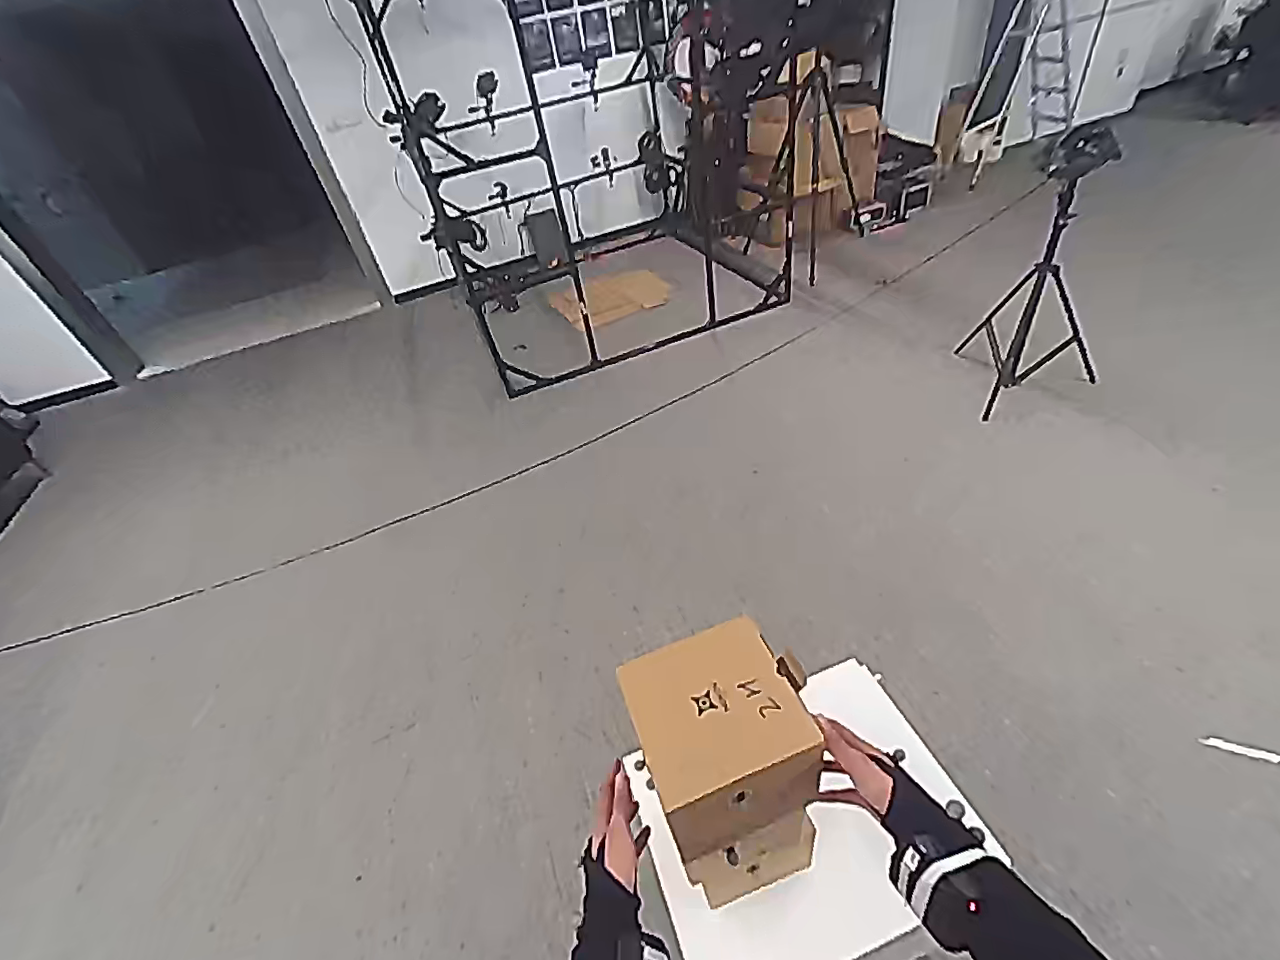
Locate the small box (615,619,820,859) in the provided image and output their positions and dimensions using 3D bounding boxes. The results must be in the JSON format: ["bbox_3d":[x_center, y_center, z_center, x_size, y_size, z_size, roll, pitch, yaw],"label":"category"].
[{"bbox_3d":[0.089,0.302,0.631,0.179,0.176,0.168,-19,40,-9],"label":"small box"}]

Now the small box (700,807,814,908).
[{"bbox_3d":[0.154,0.535,0.853,0.179,0.176,0.168,-18,40,-8],"label":"small box"}]

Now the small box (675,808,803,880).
[{"bbox_3d":[0.112,0.418,0.747,0.168,0.176,0.179,-17,39,-7],"label":"small box"}]
